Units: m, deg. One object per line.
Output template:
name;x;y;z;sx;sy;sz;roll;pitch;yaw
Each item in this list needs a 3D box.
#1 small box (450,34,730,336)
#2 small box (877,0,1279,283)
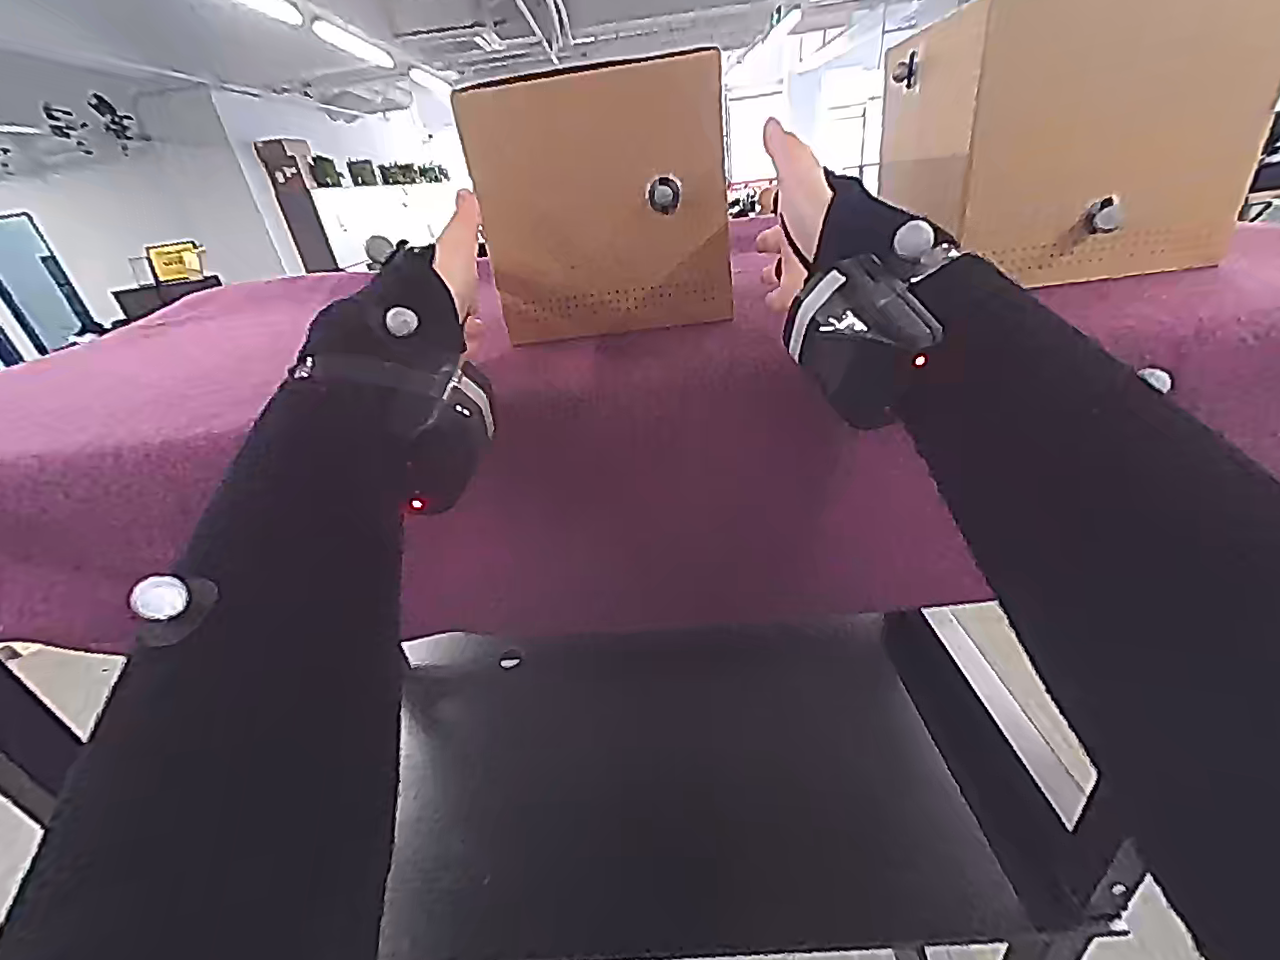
small box;-0.021;-0.226;0.439;0.179;0.176;0.168;-6;28;6
small box;0.291;-0.251;0.391;0.179;0.176;0.168;-6;28;6
